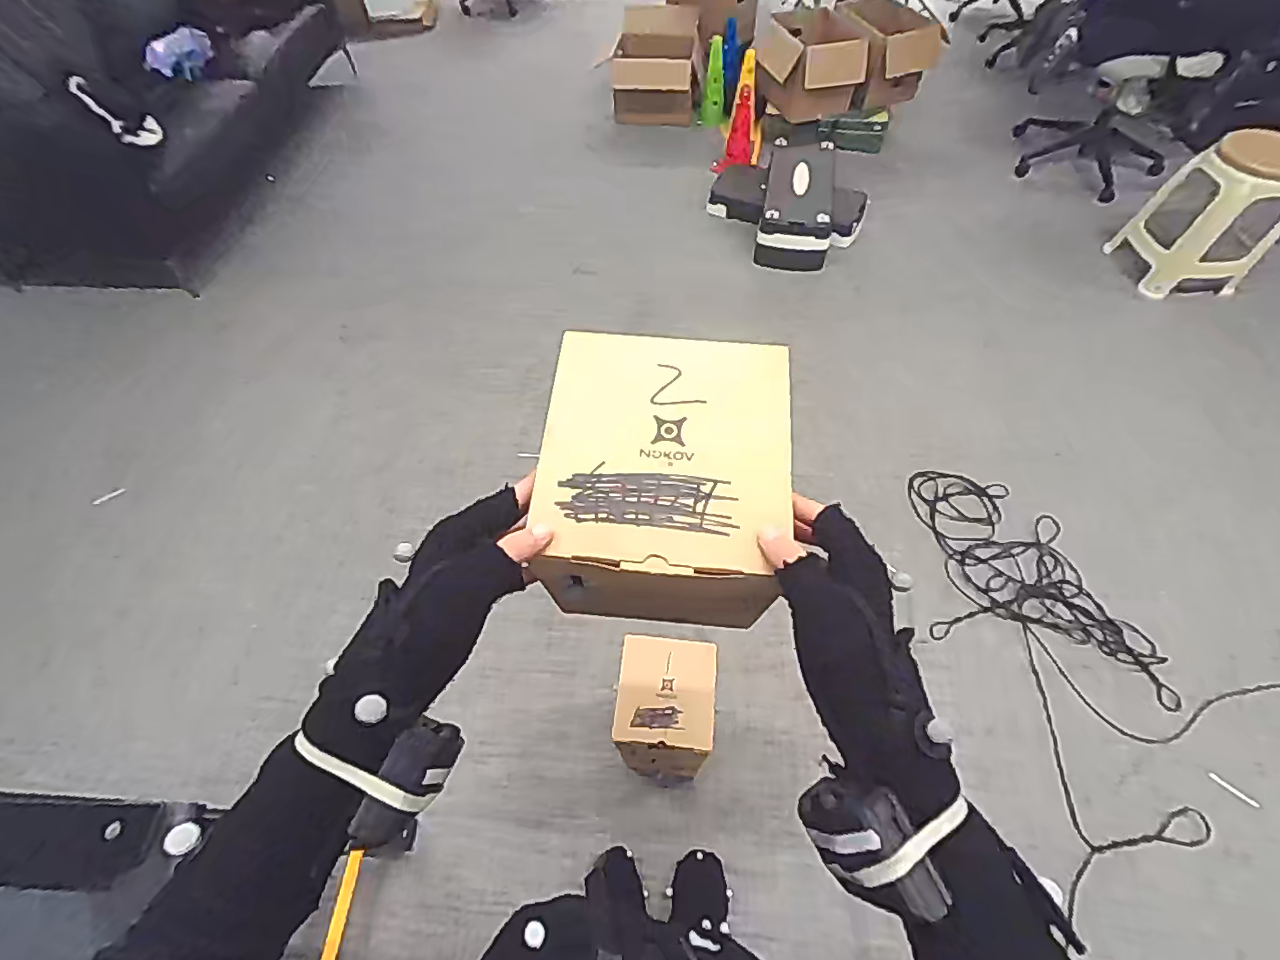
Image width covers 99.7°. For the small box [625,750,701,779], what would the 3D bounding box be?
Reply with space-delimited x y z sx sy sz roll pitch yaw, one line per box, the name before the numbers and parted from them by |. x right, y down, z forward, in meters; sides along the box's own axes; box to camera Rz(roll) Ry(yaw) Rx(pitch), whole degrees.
small box | 0.063 0.579 1.257 0.168 0.176 0.179 6 58 7

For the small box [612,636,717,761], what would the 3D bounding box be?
small box | 0.049 0.402 0.983 0.168 0.176 0.179 5 57 5
